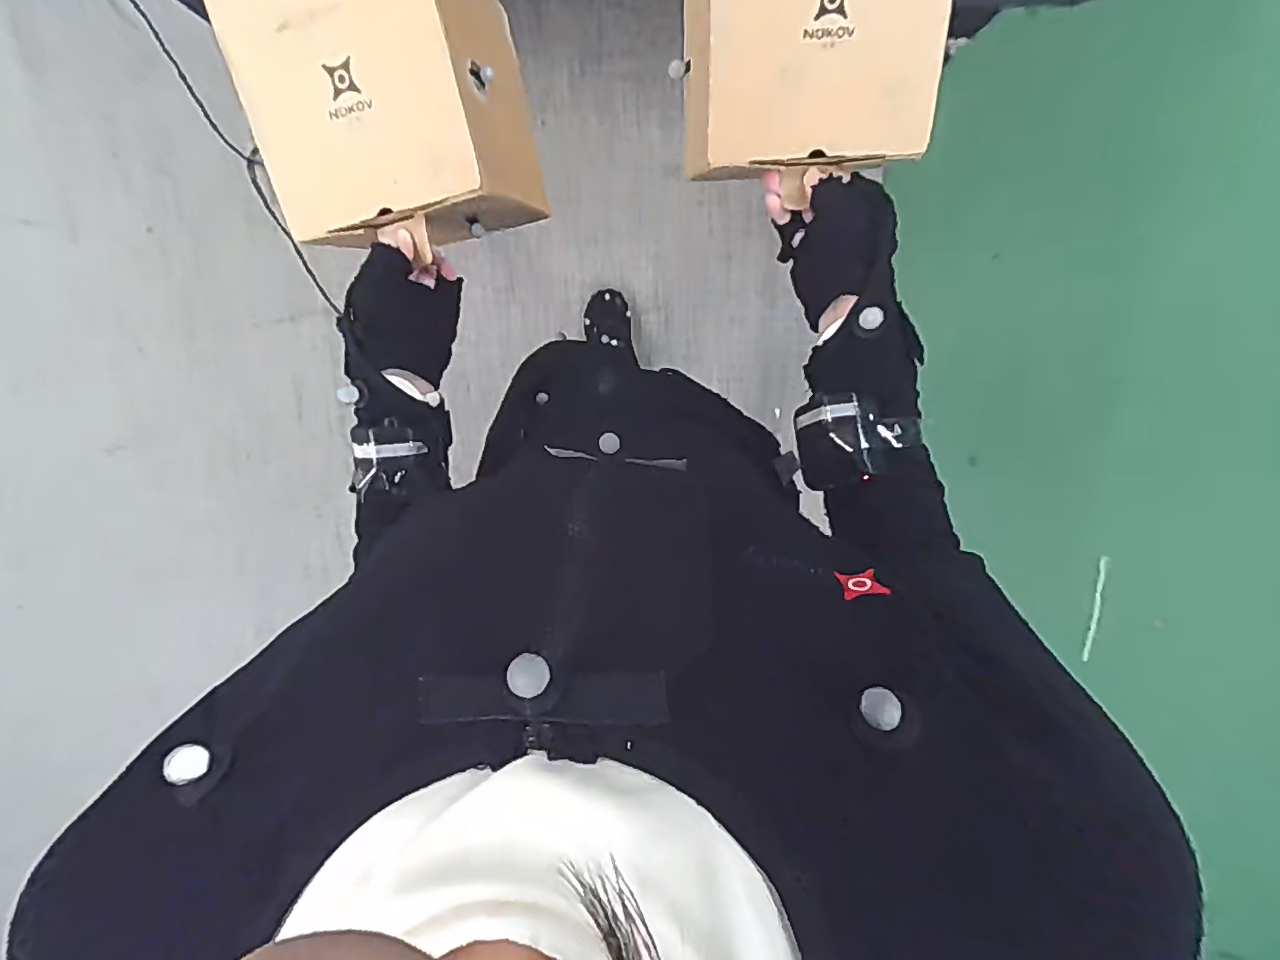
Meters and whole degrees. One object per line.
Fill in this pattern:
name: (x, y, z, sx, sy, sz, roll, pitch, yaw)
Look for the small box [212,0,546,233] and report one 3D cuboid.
small box: (-0.194, -0.317, 0.452, 0.168, 0.176, 0.179, -9, 107, 11)
